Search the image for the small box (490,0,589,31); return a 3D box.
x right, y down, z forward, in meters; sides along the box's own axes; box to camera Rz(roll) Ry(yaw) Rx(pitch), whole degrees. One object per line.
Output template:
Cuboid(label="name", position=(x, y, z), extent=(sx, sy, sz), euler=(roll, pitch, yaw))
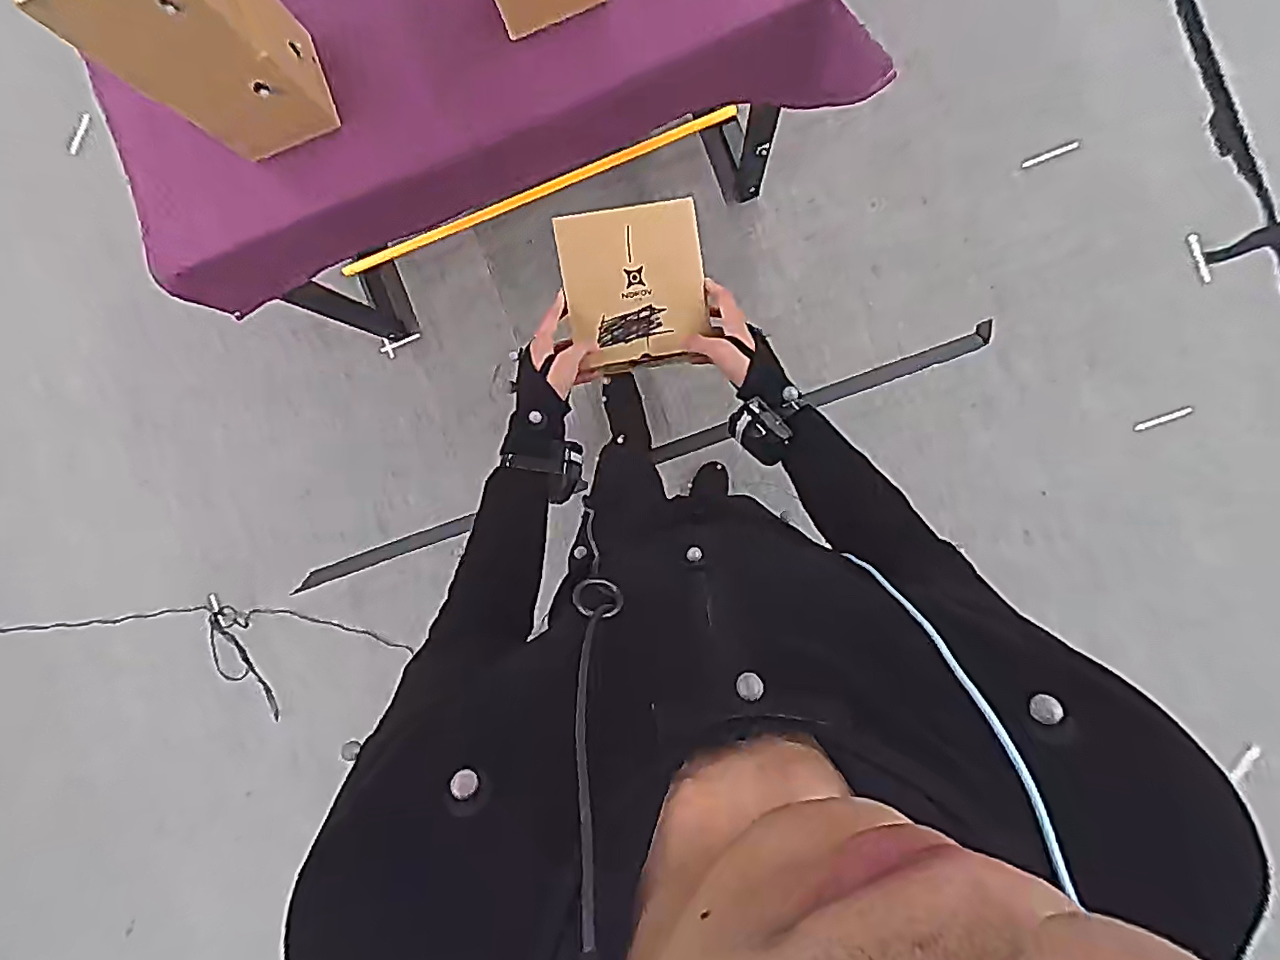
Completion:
Cuboid(label="small box", position=(-0.171, -0.821, 0.793), extent=(0.179, 0.176, 0.168), euler=(-19, 91, 5))

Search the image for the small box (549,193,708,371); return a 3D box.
Cuboid(label="small box", position=(-0.014, -0.240, 0.701), extent=(0.168, 0.176, 0.179), euler=(-9, 98, -2))

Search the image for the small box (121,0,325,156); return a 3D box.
Cuboid(label="small box", position=(-0.625, -0.648, 0.837), extent=(0.179, 0.176, 0.168), euler=(-18, 91, 5))
